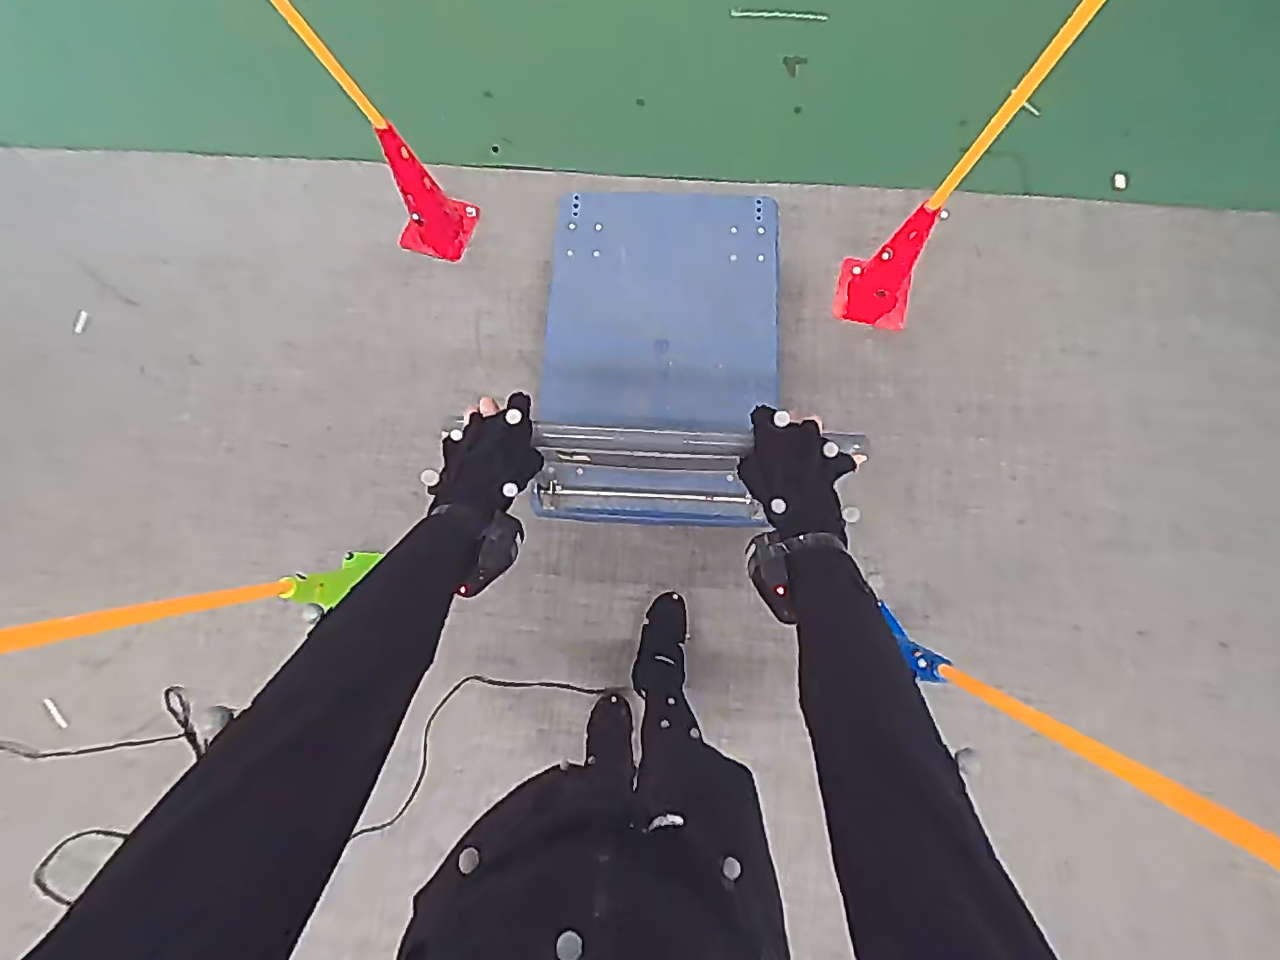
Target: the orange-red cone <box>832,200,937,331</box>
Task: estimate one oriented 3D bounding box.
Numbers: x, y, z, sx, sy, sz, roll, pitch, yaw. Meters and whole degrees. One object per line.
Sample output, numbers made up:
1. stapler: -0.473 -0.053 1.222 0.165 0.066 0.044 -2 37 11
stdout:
1. orange-red cone: 0.653 -0.567 1.375 0.198 0.360 0.199 15 78 6
